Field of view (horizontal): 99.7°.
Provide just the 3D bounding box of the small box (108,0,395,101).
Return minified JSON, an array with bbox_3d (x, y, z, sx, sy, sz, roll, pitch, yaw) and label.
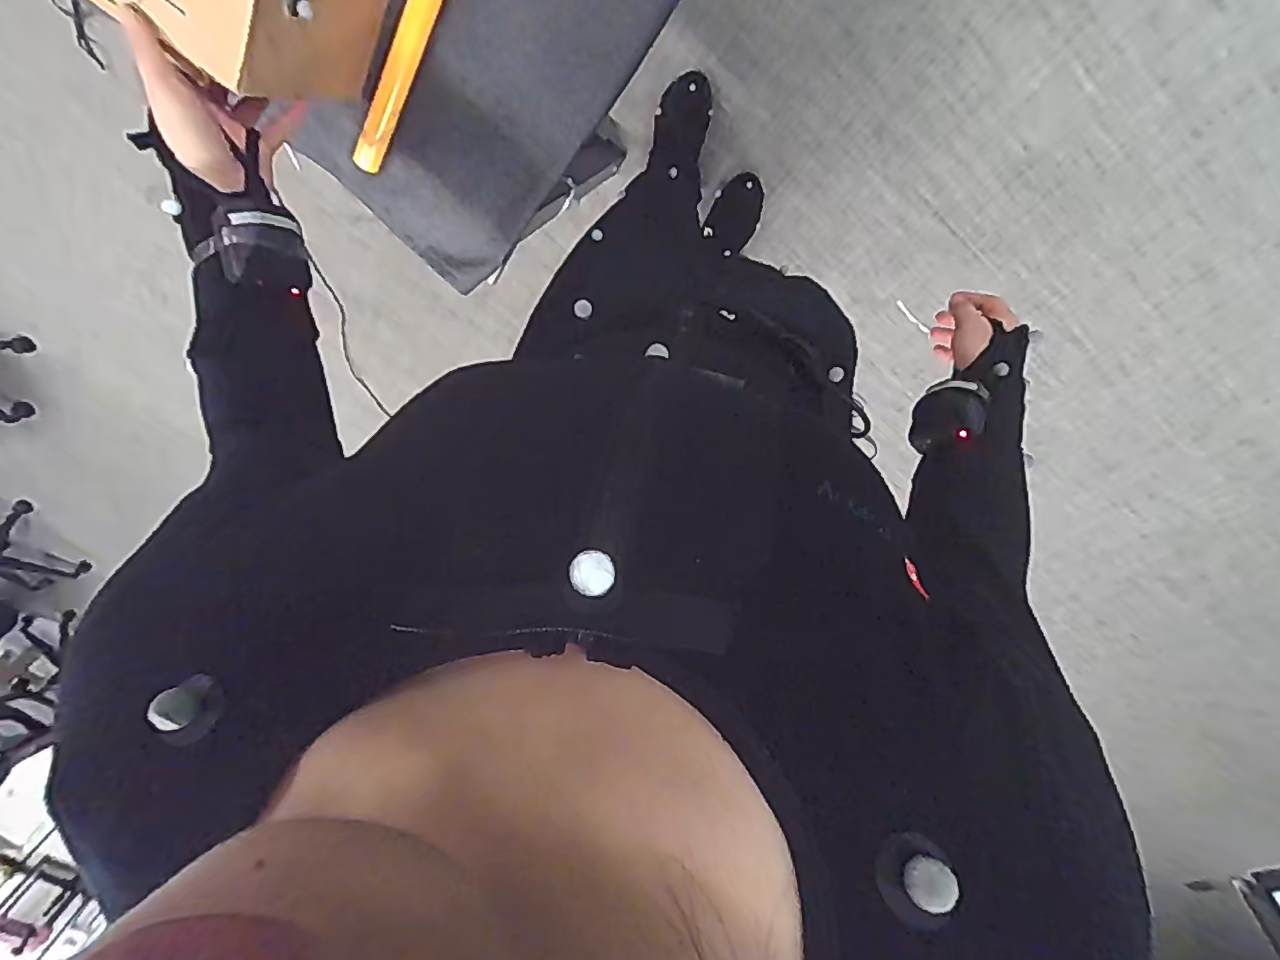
[{"bbox_3d":[-0.310,-0.439,0.426,0.168,0.176,0.179,34,123,-14],"label":"small box"}]
